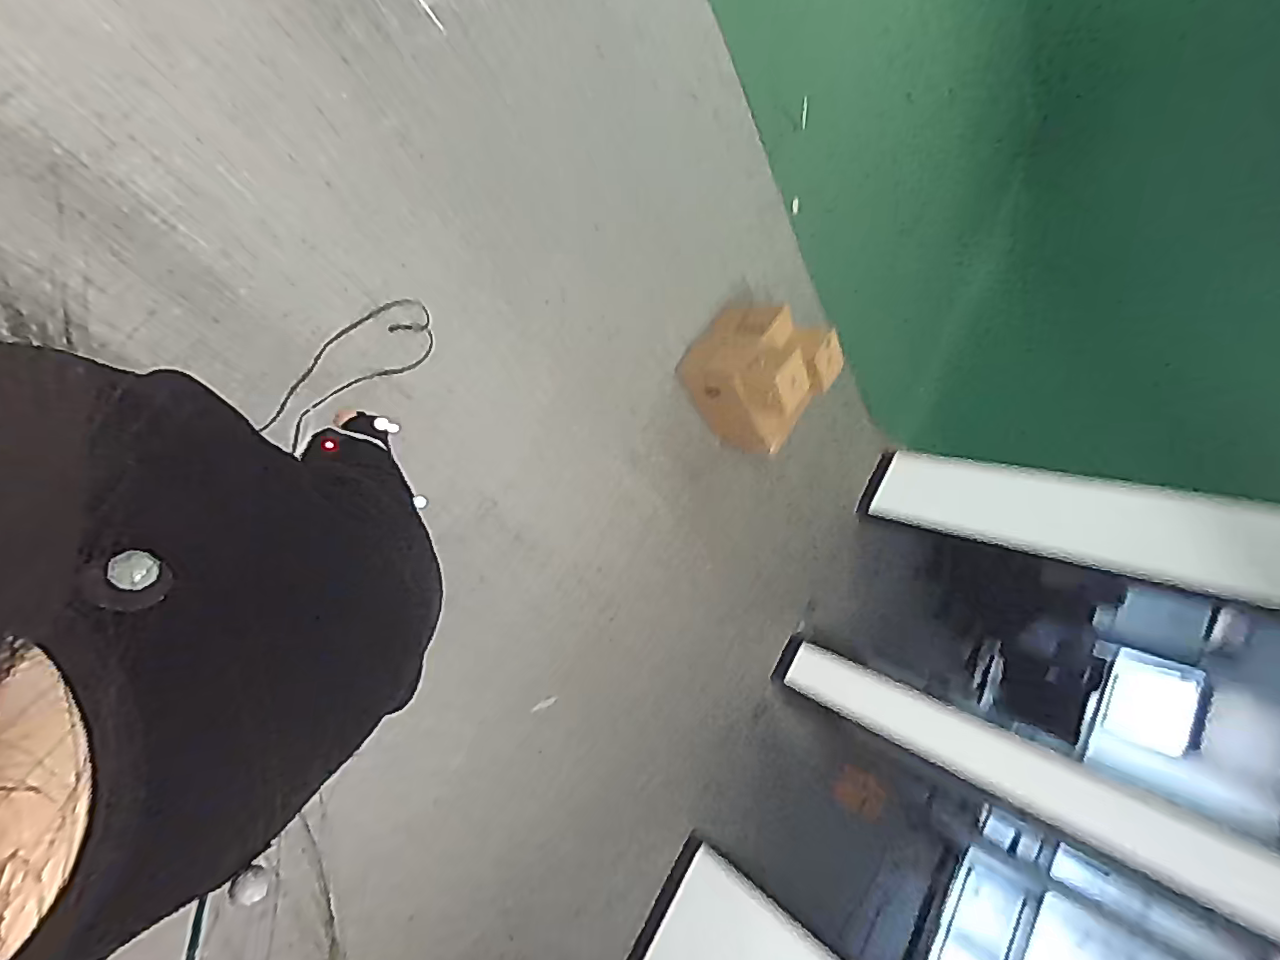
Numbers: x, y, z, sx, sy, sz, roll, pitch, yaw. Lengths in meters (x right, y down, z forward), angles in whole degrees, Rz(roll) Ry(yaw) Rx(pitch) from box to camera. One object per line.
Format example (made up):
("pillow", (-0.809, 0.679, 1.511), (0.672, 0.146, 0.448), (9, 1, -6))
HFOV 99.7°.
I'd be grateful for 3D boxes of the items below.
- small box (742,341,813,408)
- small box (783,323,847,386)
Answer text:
("small box", (0.491, -0.381, 1.940), (0.168, 0.176, 0.179), (-50, 131, -20))
("small box", (0.667, -0.488, 2.079), (0.168, 0.176, 0.179), (-52, 133, -21))
